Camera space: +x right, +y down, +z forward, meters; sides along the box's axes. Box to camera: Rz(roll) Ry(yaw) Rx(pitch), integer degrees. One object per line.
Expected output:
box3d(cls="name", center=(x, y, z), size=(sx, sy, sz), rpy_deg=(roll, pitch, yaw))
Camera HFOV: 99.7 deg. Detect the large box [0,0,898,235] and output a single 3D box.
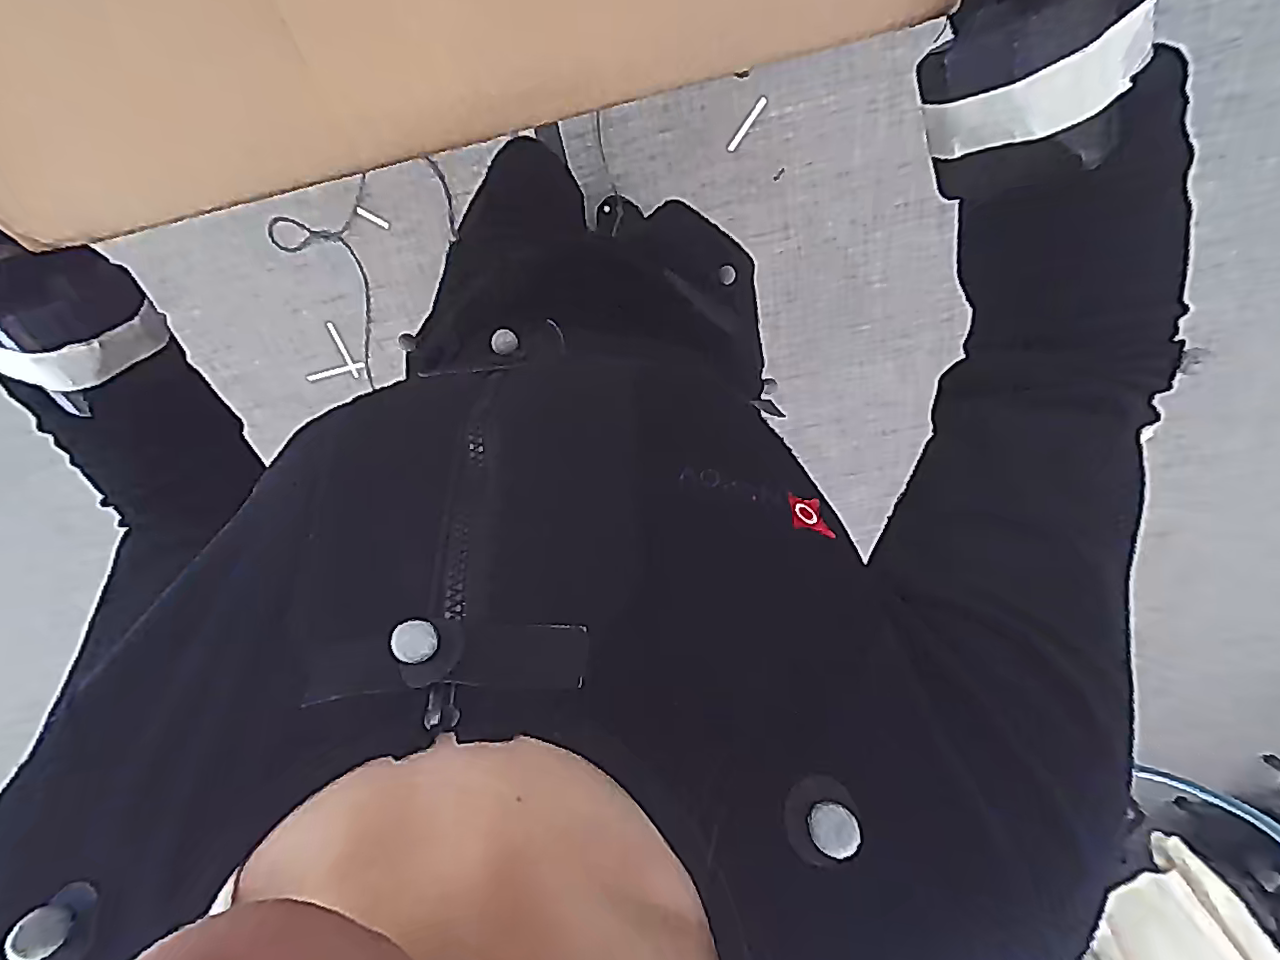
box3d(cls="large box", center=(-0.120, -0.359, 0.210), size=(0.408, 0.320, 0.320), rpy_deg=(-10, 139, 6))
